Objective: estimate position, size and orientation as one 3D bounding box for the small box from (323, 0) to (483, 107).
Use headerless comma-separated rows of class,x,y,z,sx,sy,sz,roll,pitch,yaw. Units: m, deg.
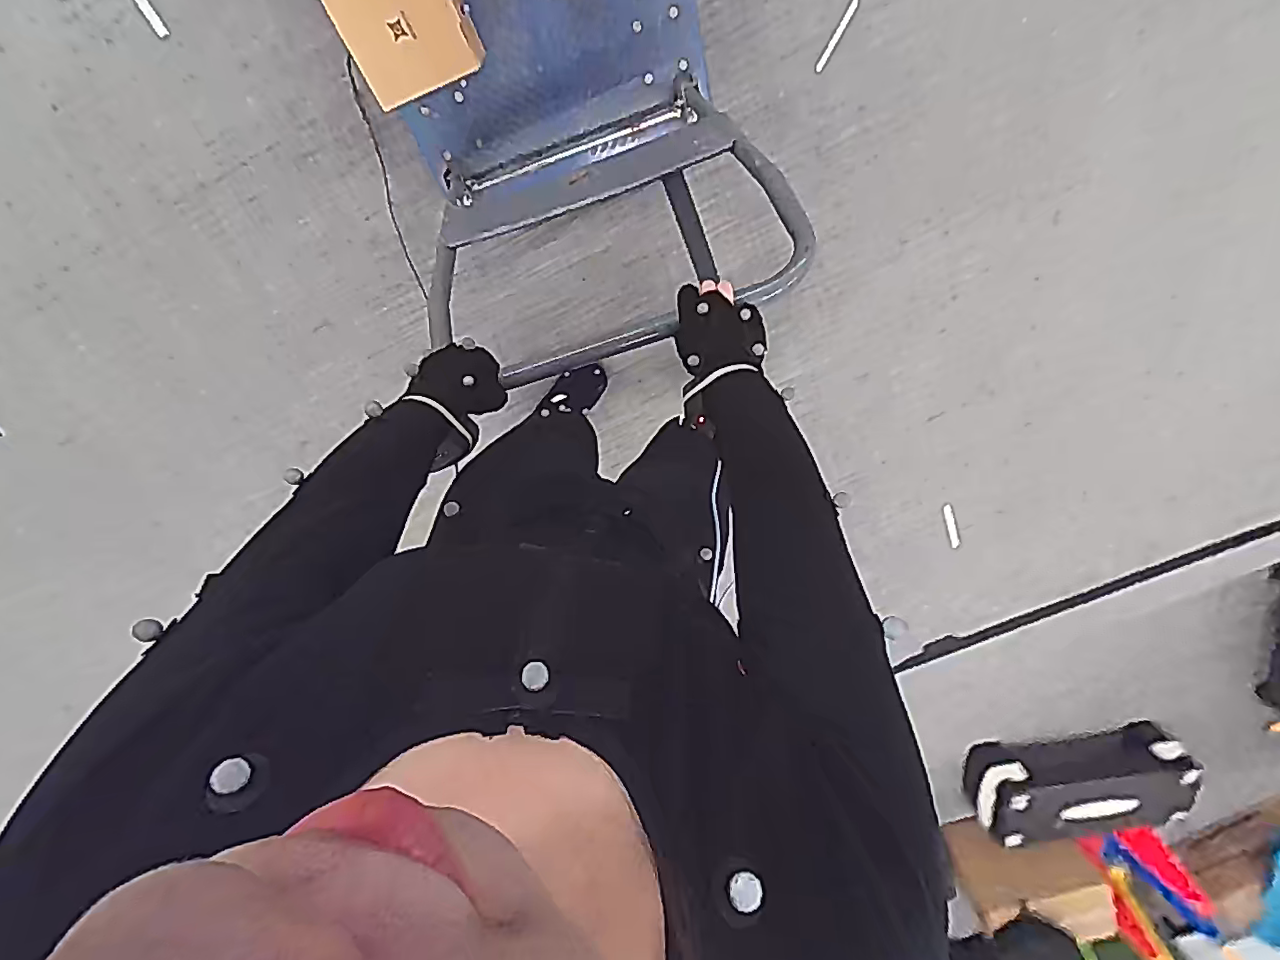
small box,-0.370,-0.737,0.869,0.179,0.176,0.168,-20,134,7
